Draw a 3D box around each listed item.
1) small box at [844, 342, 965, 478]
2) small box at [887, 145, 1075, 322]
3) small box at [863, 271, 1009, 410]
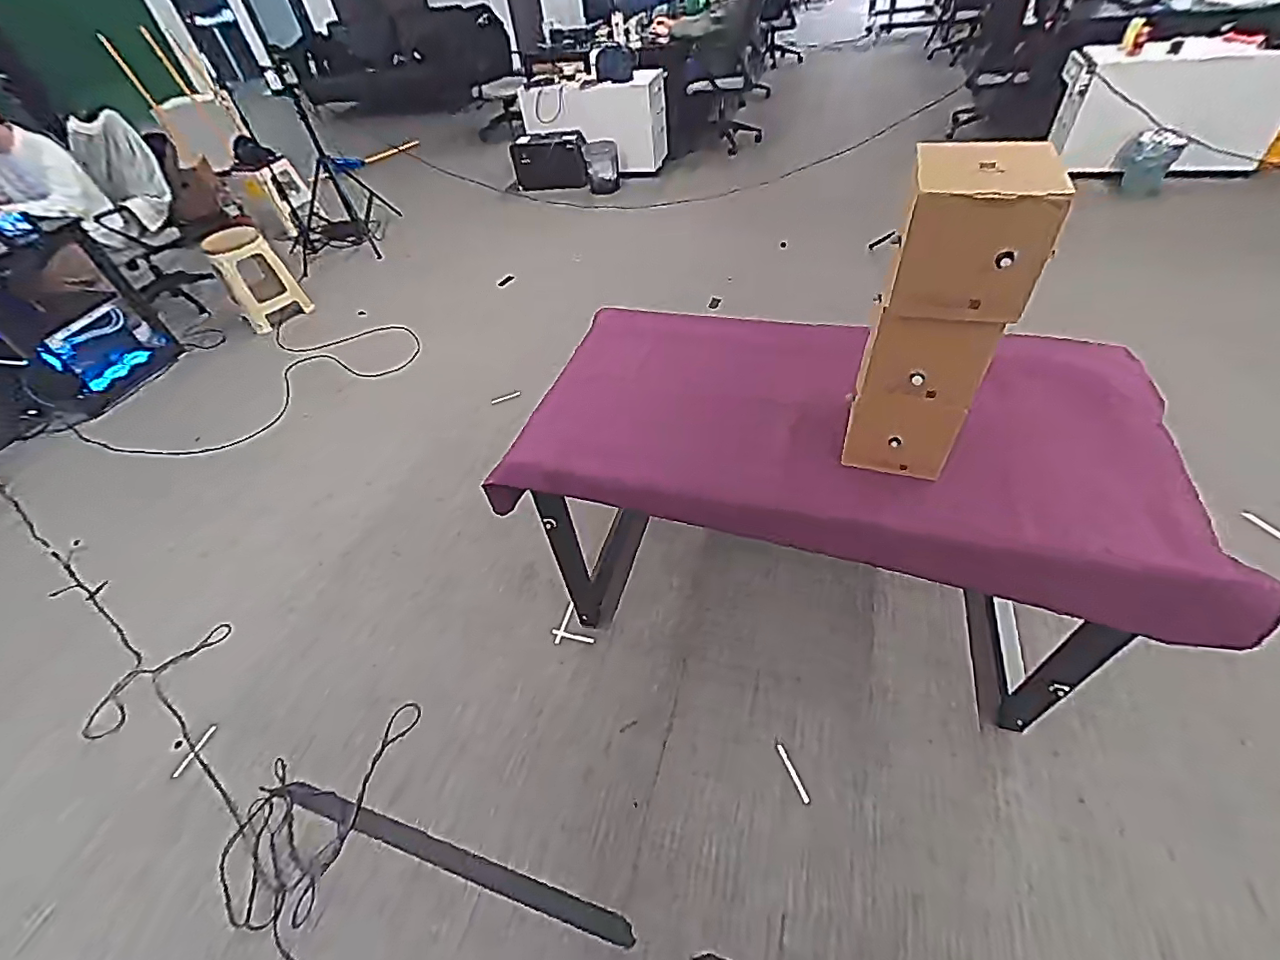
[{"bbox_3d":[0.477,-0.127,0.988,0.168,0.176,0.179,12,50,18],"label":"small box"},{"bbox_3d":[0.444,-0.333,0.736,0.168,0.176,0.179,10,49,15],"label":"small box"},{"bbox_3d":[0.465,-0.240,0.869,0.168,0.176,0.179,11,51,18],"label":"small box"}]
